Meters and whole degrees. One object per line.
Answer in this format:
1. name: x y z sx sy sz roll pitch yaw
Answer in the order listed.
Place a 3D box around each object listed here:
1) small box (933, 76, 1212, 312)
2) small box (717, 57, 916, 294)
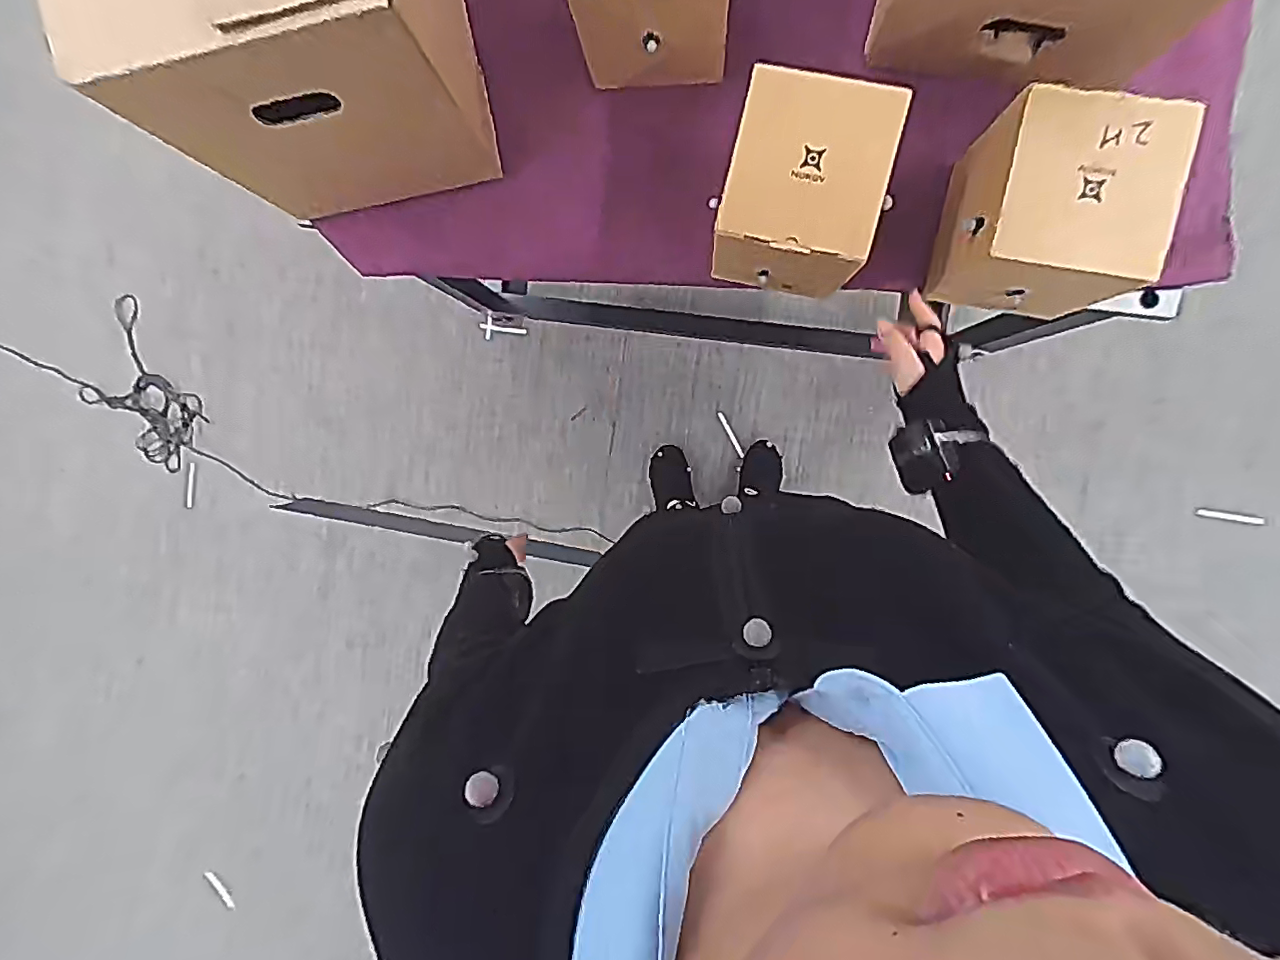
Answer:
1. small box: 0.461 -0.303 0.612 0.168 0.176 0.179 12 94 5
2. small box: 0.190 -0.342 0.639 0.168 0.176 0.179 13 97 5
